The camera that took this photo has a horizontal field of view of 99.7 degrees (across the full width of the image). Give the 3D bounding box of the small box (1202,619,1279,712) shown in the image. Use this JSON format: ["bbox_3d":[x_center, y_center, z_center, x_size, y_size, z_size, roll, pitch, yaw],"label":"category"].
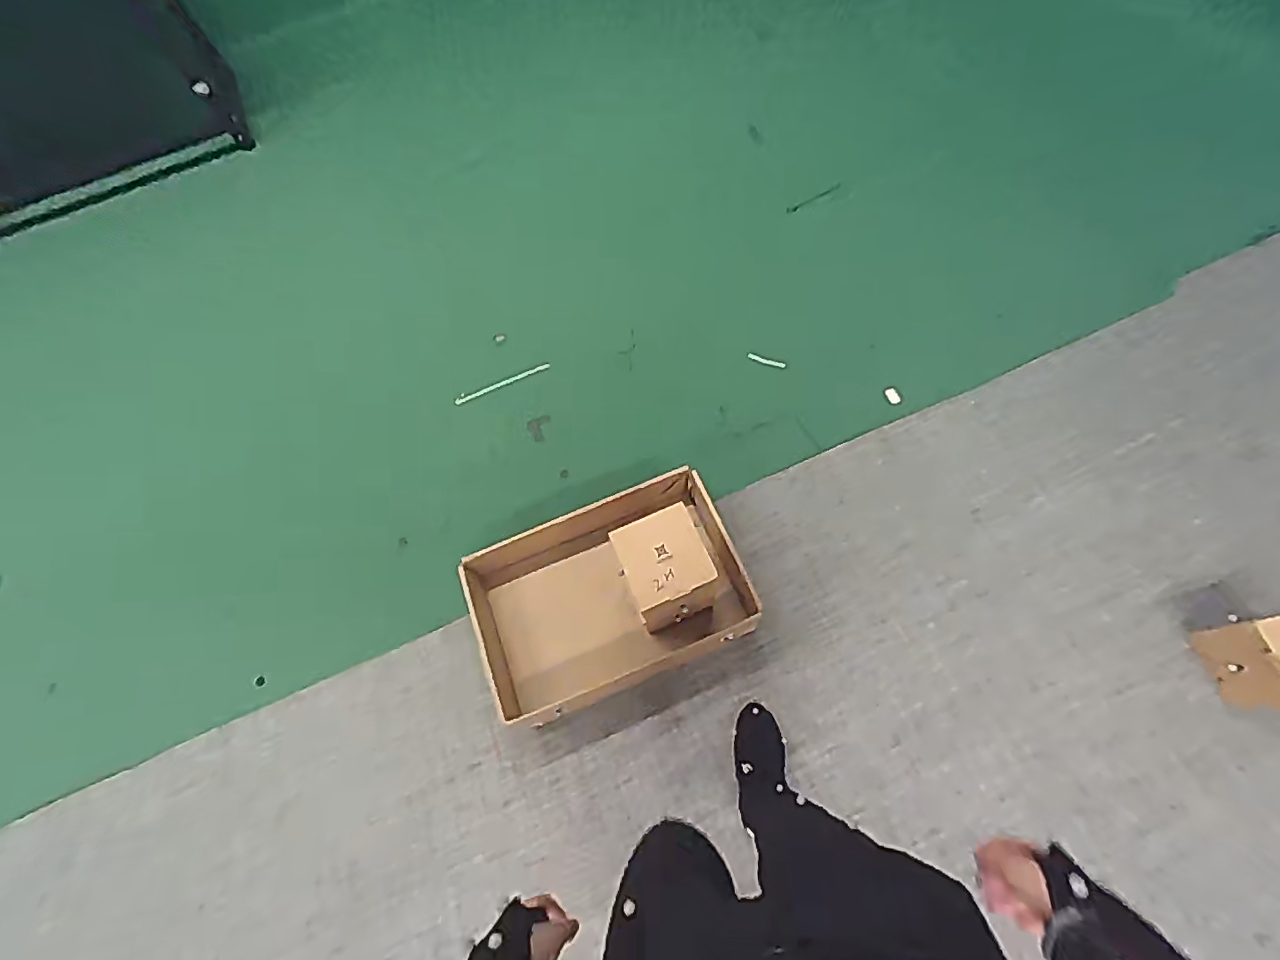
[{"bbox_3d":[1.347,0.380,1.124,0.179,0.176,0.168,-13,66,1],"label":"small box"}]

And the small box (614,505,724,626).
[{"bbox_3d":[0.060,0.181,1.112,0.168,0.176,0.179,-23,67,-3],"label":"small box"}]
